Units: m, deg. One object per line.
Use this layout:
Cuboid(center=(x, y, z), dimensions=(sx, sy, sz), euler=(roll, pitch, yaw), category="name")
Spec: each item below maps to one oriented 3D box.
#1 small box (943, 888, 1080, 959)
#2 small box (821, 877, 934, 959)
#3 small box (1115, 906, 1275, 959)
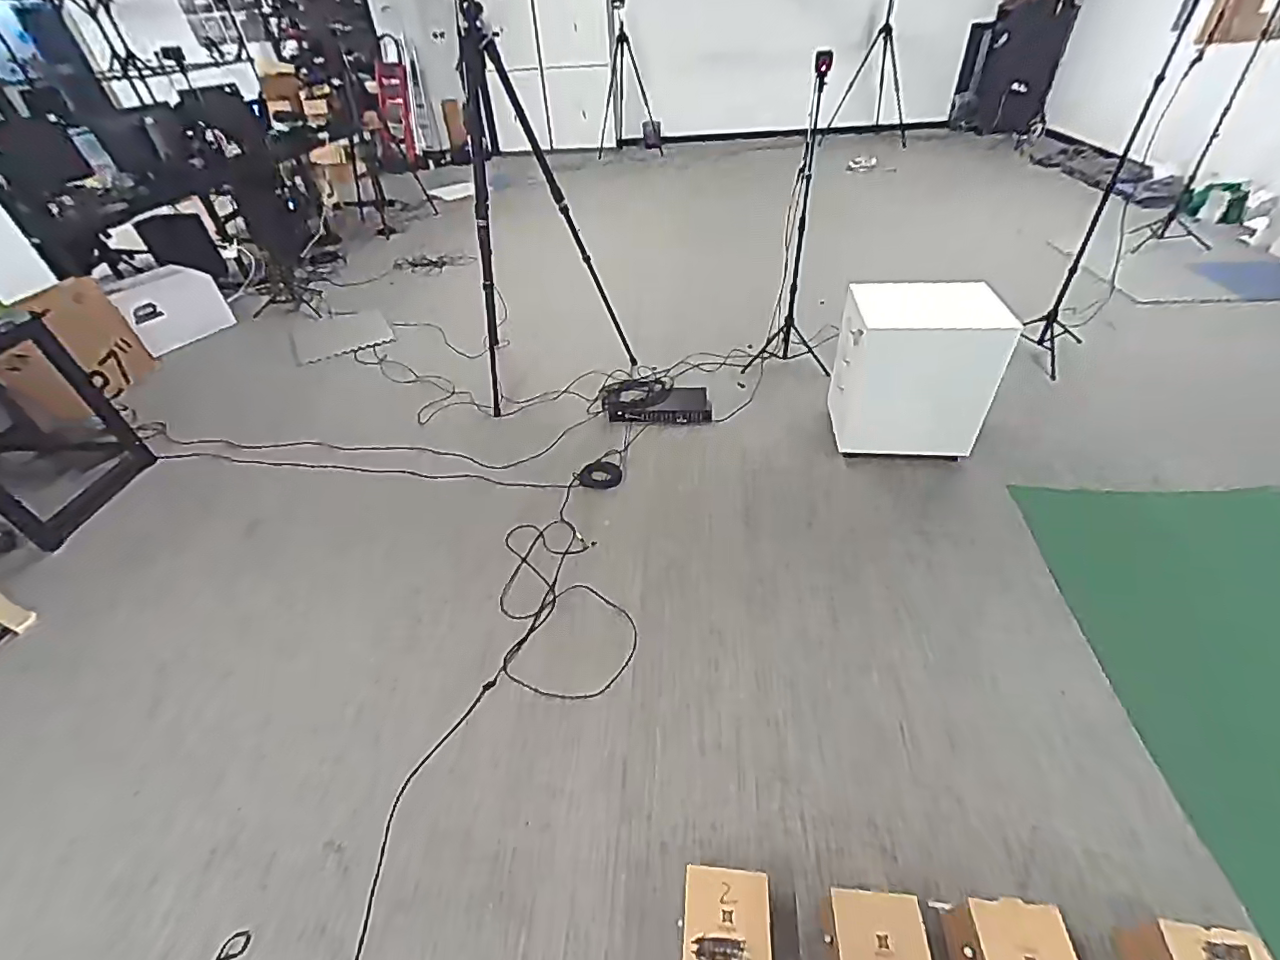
Cuboid(center=(0.712, 0.912, 1.033), dimensions=(0.168, 0.176, 0.179), euler=(0, 41, 5), category="small box")
Cuboid(center=(0.458, 0.909, 1.055), dimensions=(0.168, 0.176, 0.179), euler=(0, 42, 7), category="small box")
Cuboid(center=(1.035, 0.921, 0.993), dimensions=(0.168, 0.176, 0.179), euler=(3, 43, 9), category="small box")
